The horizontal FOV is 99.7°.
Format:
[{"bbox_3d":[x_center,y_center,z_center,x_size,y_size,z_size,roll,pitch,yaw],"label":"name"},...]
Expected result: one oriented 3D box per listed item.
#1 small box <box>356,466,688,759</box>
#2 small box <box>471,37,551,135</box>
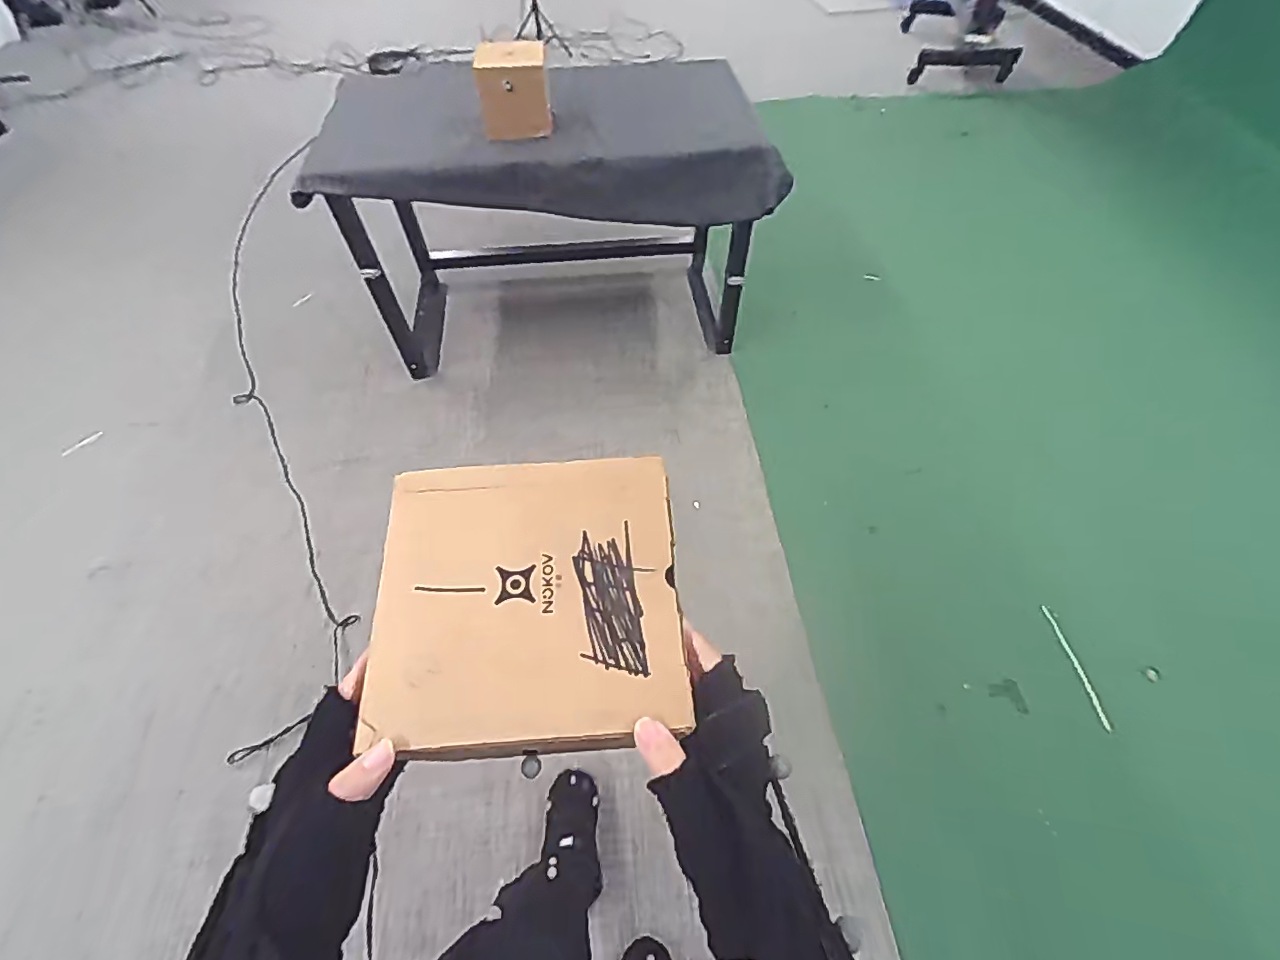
[{"bbox_3d":[-0.068,0.103,0.390,0.179,0.176,0.168,-3,62,-3],"label":"small box"},{"bbox_3d":[-0.331,-1.030,1.420,0.179,0.176,0.168,-4,57,-5],"label":"small box"}]
